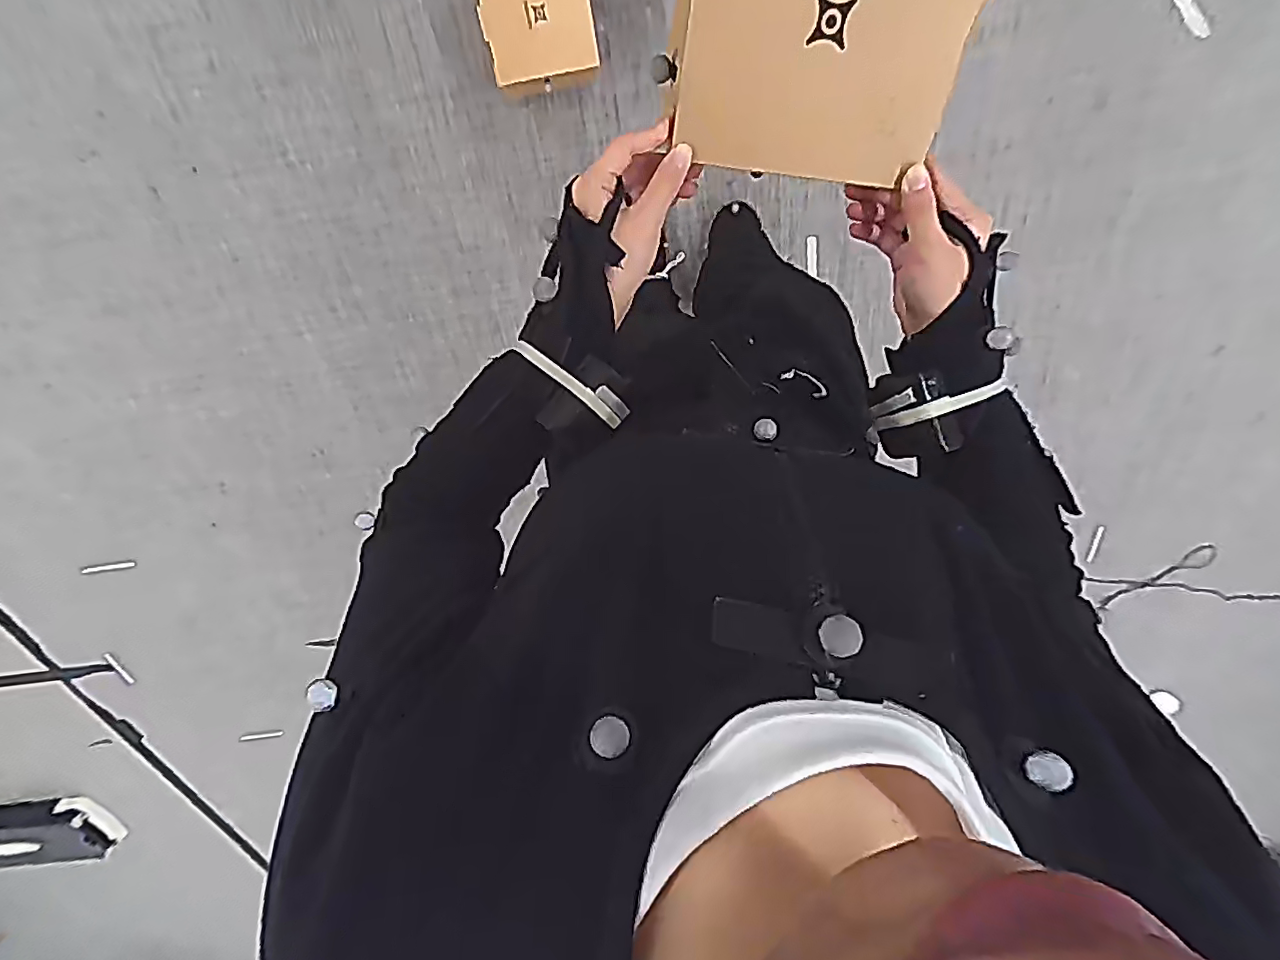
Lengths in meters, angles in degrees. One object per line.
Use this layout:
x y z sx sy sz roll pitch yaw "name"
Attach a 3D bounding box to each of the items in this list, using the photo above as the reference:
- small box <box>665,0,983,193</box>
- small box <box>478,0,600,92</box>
0.110 -0.318 0.368 0.168 0.176 0.179 4 128 -5 "small box"
-0.168 -0.783 0.924 0.179 0.176 0.168 -9 121 3 "small box"
